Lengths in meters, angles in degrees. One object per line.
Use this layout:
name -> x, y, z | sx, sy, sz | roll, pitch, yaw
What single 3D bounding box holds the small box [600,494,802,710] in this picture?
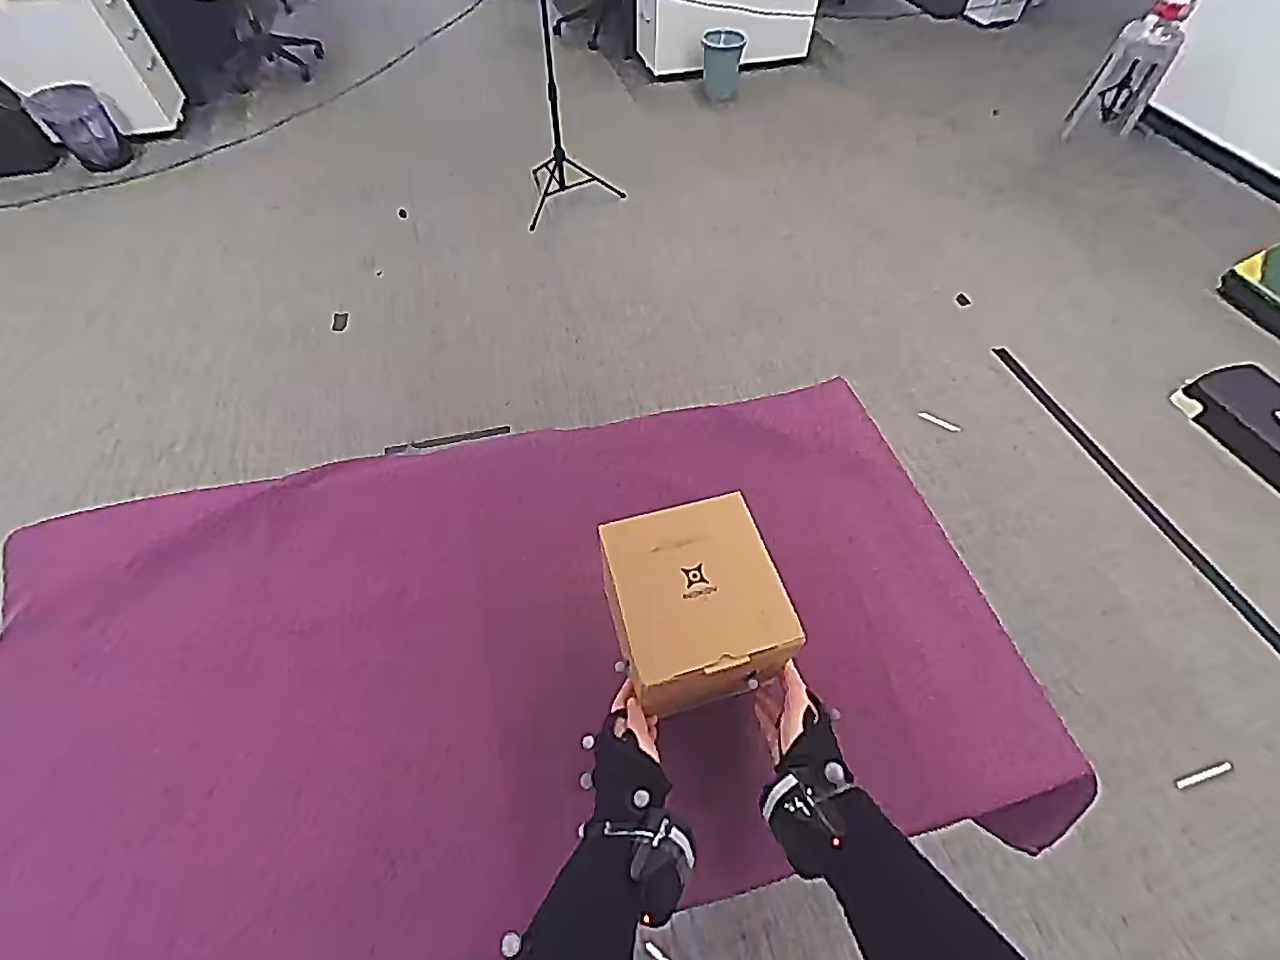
small box -> 0.057, 0.145, 0.611 | 0.168, 0.176, 0.179 | -13, 57, -9
